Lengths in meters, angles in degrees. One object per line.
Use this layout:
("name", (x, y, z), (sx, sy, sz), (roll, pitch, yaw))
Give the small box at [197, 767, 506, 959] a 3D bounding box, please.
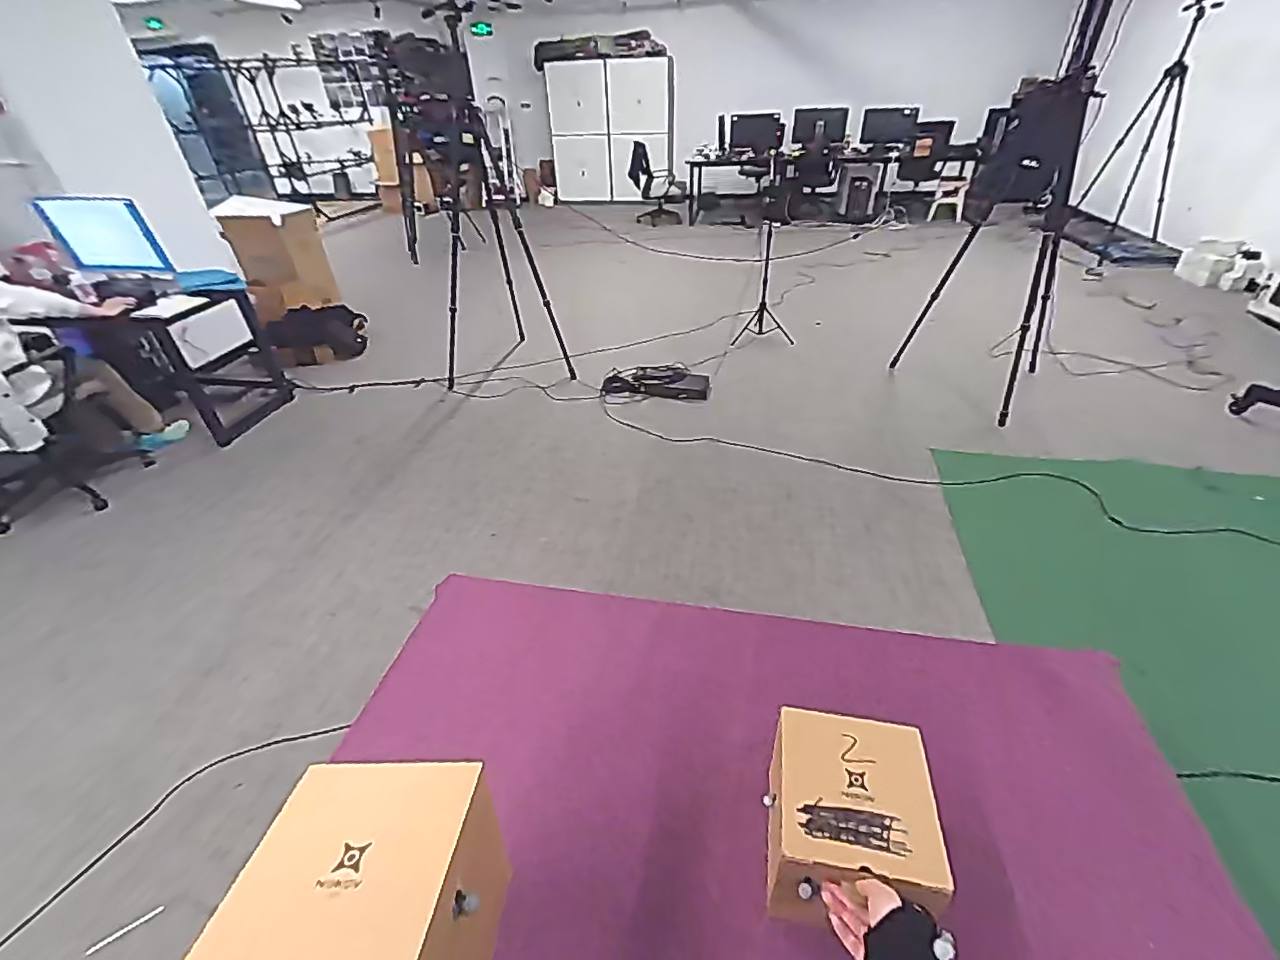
("small box", (-0.223, 0.381, 0.466), (0.168, 0.176, 0.179), (-3, 26, 4))
